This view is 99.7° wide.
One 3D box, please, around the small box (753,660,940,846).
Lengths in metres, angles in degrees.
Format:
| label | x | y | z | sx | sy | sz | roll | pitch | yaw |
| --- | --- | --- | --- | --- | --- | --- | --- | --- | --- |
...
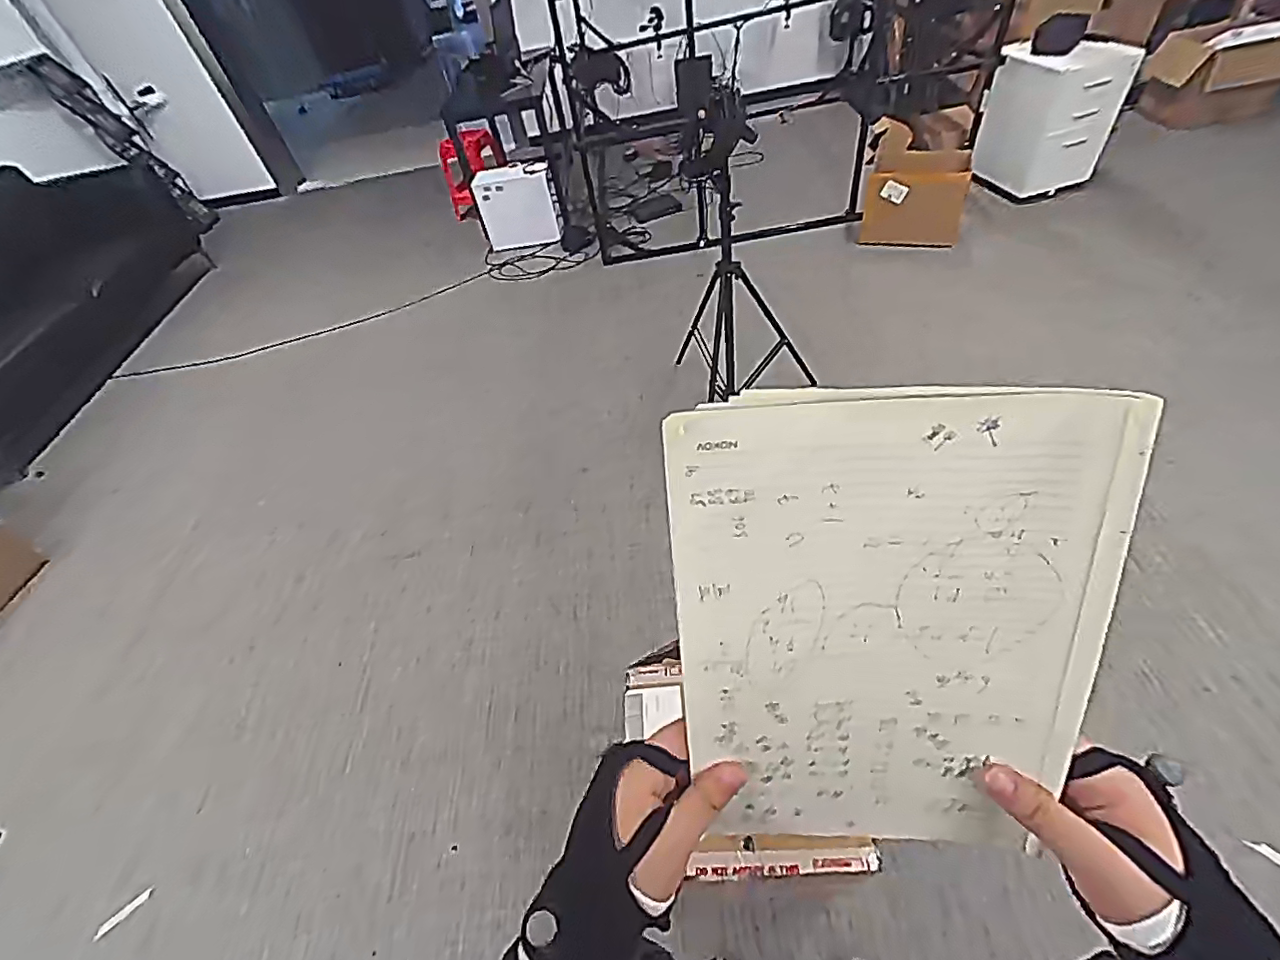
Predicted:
| label | x | y | z | sx | sy | sz | roll | pitch | yaw |
| --- | --- | --- | --- | --- | --- | --- | --- | --- | --- |
| small box | 0.242 | 0.349 | 0.688 | 0.168 | 0.176 | 0.179 | -5 | 50 | 4 |

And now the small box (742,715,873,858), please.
| label | x | y | z | sx | sy | sz | roll | pitch | yaw |
| --- | --- | --- | --- | --- | --- | --- | --- | --- | --- |
| small box | 0.256 | 0.455 | 0.813 | 0.179 | 0.176 | 0.168 | -8 | 49 | 2 |
